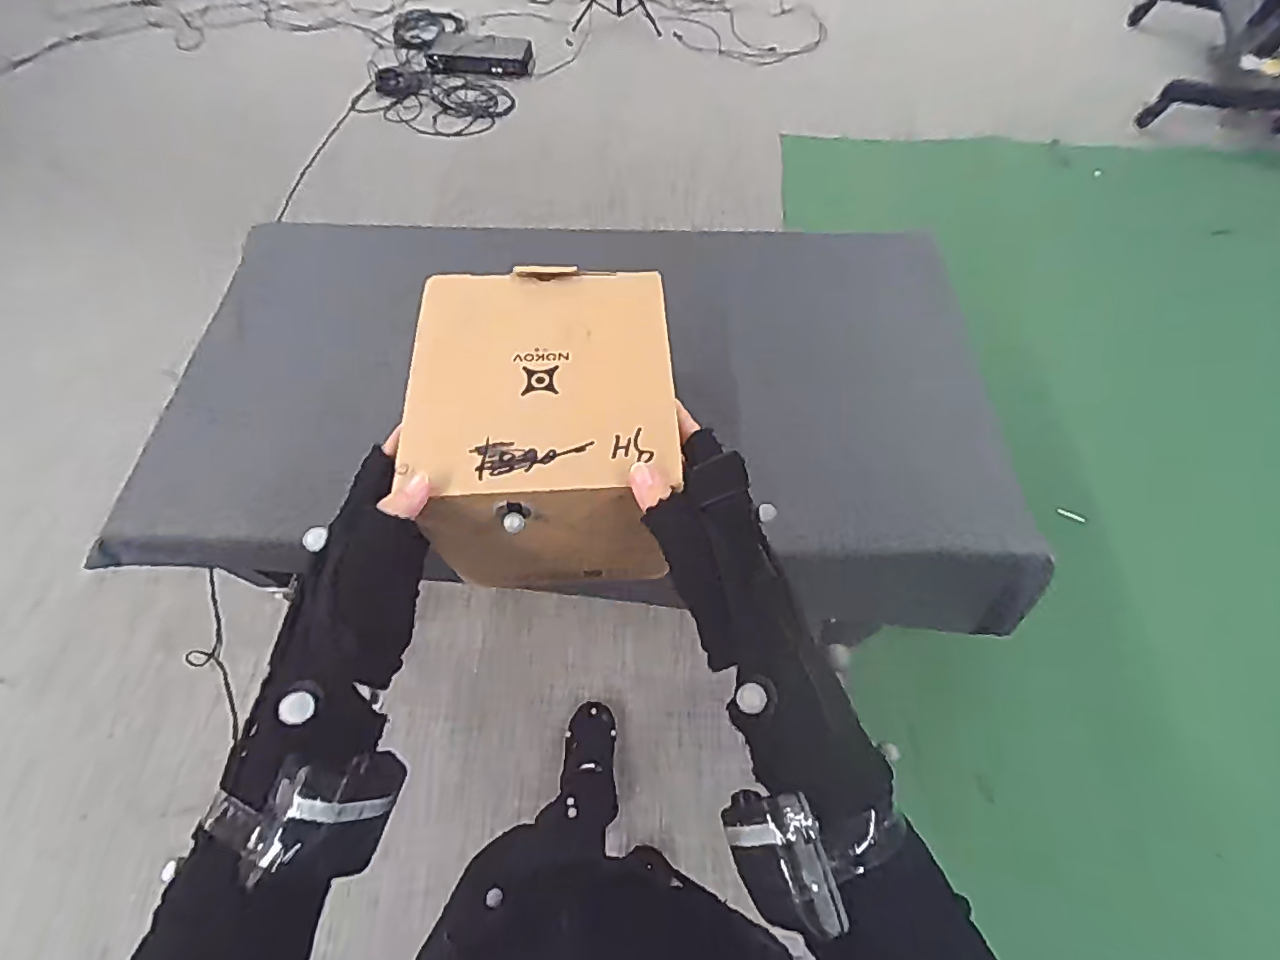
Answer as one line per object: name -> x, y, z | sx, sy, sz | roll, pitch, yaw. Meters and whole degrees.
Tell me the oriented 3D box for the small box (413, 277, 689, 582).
small box -> -0.062, -0.033, 0.428 | 0.168, 0.176, 0.179 | -4, 62, -4
